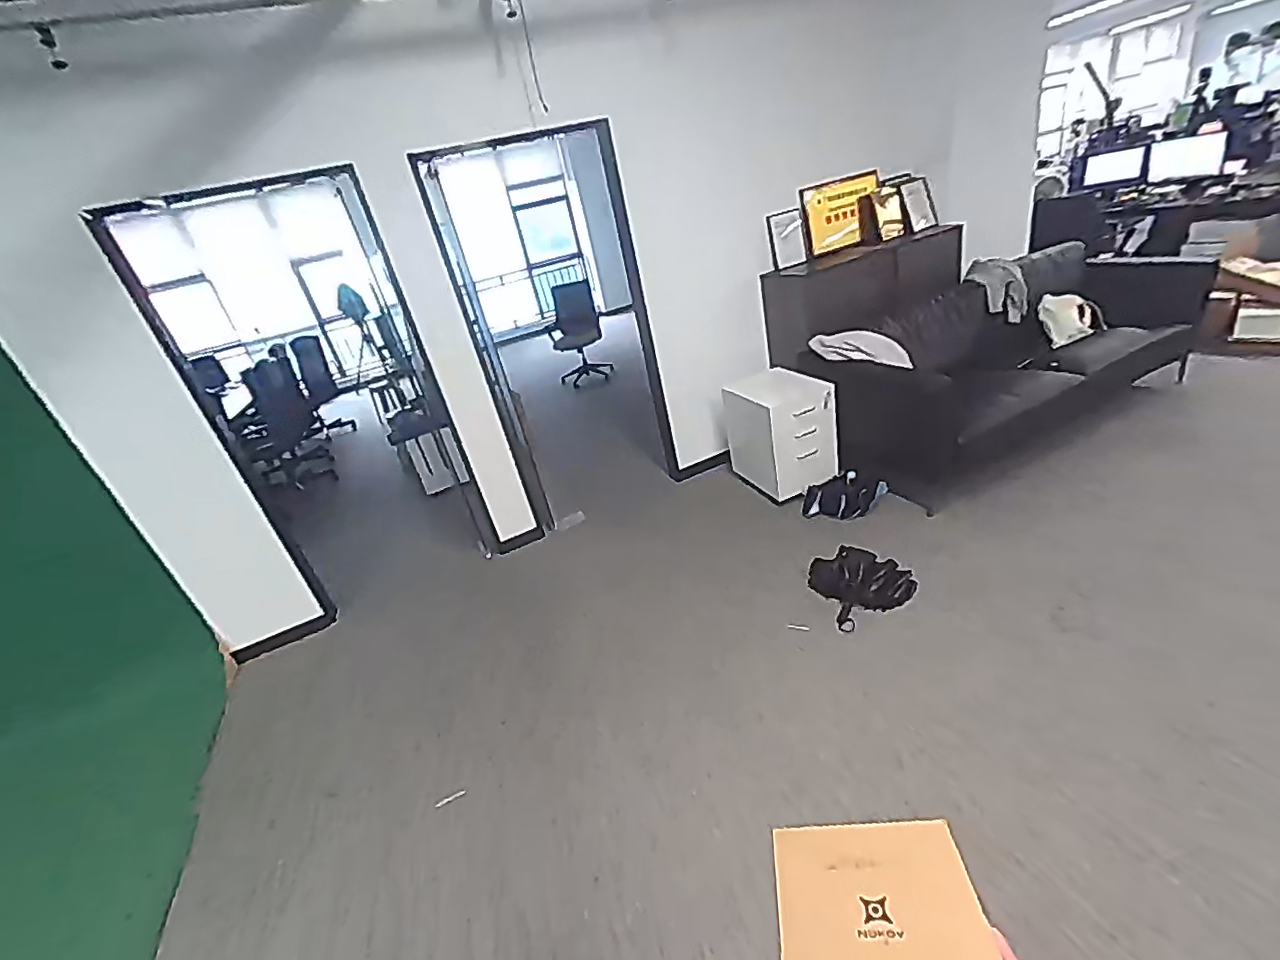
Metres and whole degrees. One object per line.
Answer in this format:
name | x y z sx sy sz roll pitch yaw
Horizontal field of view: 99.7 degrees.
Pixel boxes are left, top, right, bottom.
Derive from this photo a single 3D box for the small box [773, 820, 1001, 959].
small box | 0.217 0.439 0.471 0.168 0.176 0.179 -10 13 13
